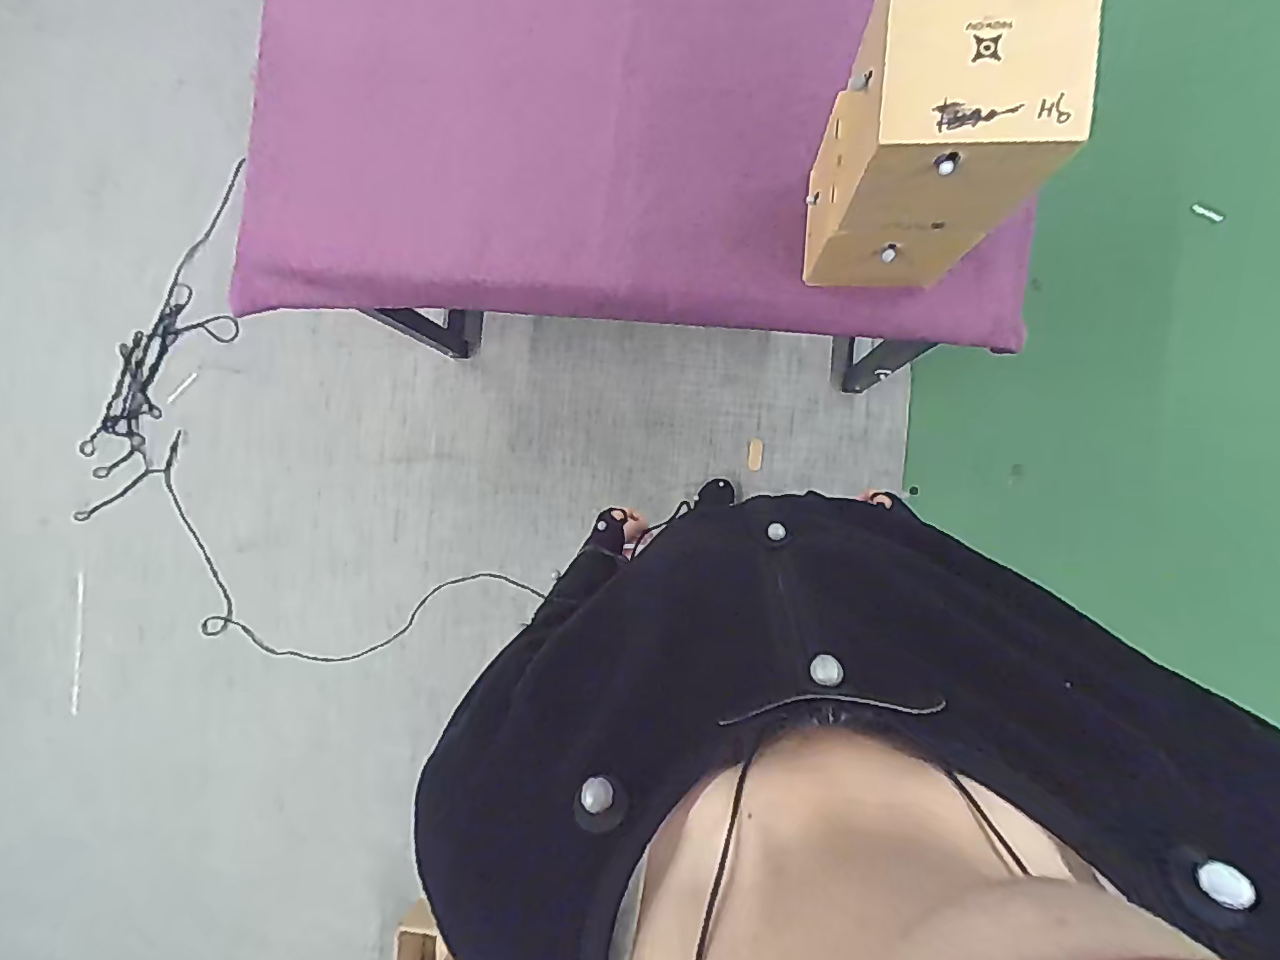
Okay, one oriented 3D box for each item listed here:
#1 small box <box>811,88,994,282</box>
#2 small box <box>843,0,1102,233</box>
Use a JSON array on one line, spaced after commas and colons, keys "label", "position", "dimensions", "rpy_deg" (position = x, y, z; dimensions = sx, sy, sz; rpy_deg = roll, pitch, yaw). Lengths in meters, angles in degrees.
[{"label": "small box", "position": [0.325, -0.364, 0.689], "dimensions": [0.179, 0.176, 0.168], "rpy_deg": [3, 91, 10]}, {"label": "small box", "position": [0.302, -0.367, 0.527], "dimensions": [0.168, 0.176, 0.179], "rpy_deg": [4, 90, 10]}]
